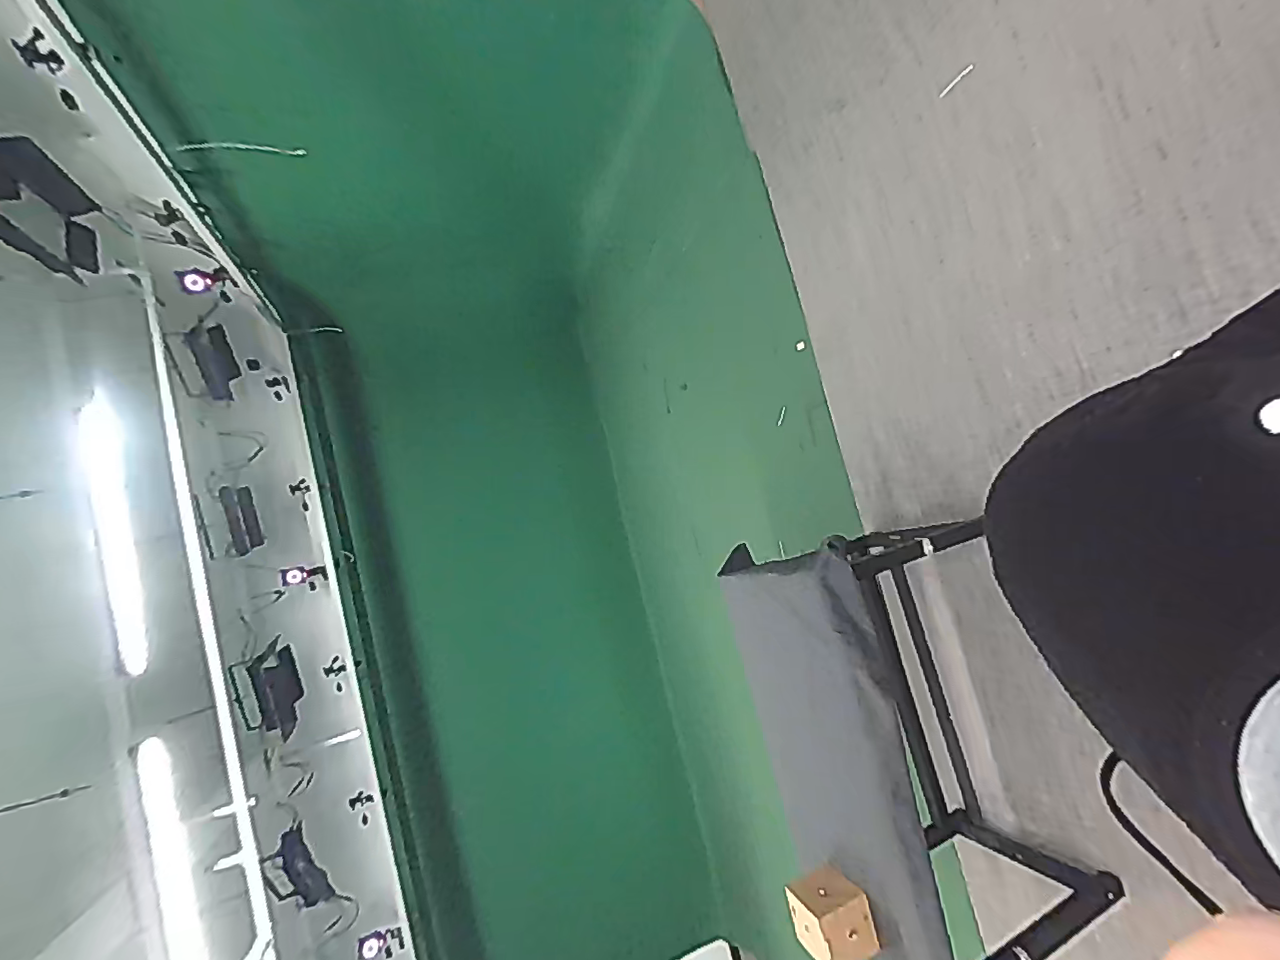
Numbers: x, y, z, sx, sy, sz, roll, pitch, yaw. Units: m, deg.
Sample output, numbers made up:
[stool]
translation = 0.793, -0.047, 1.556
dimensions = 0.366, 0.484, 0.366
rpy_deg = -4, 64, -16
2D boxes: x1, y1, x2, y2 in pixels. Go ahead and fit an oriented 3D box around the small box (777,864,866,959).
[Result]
[small box]
translation = 0.544, 1.291, 1.605
dimensions = 0.179, 0.176, 0.168
rpy_deg = 157, 101, -69
